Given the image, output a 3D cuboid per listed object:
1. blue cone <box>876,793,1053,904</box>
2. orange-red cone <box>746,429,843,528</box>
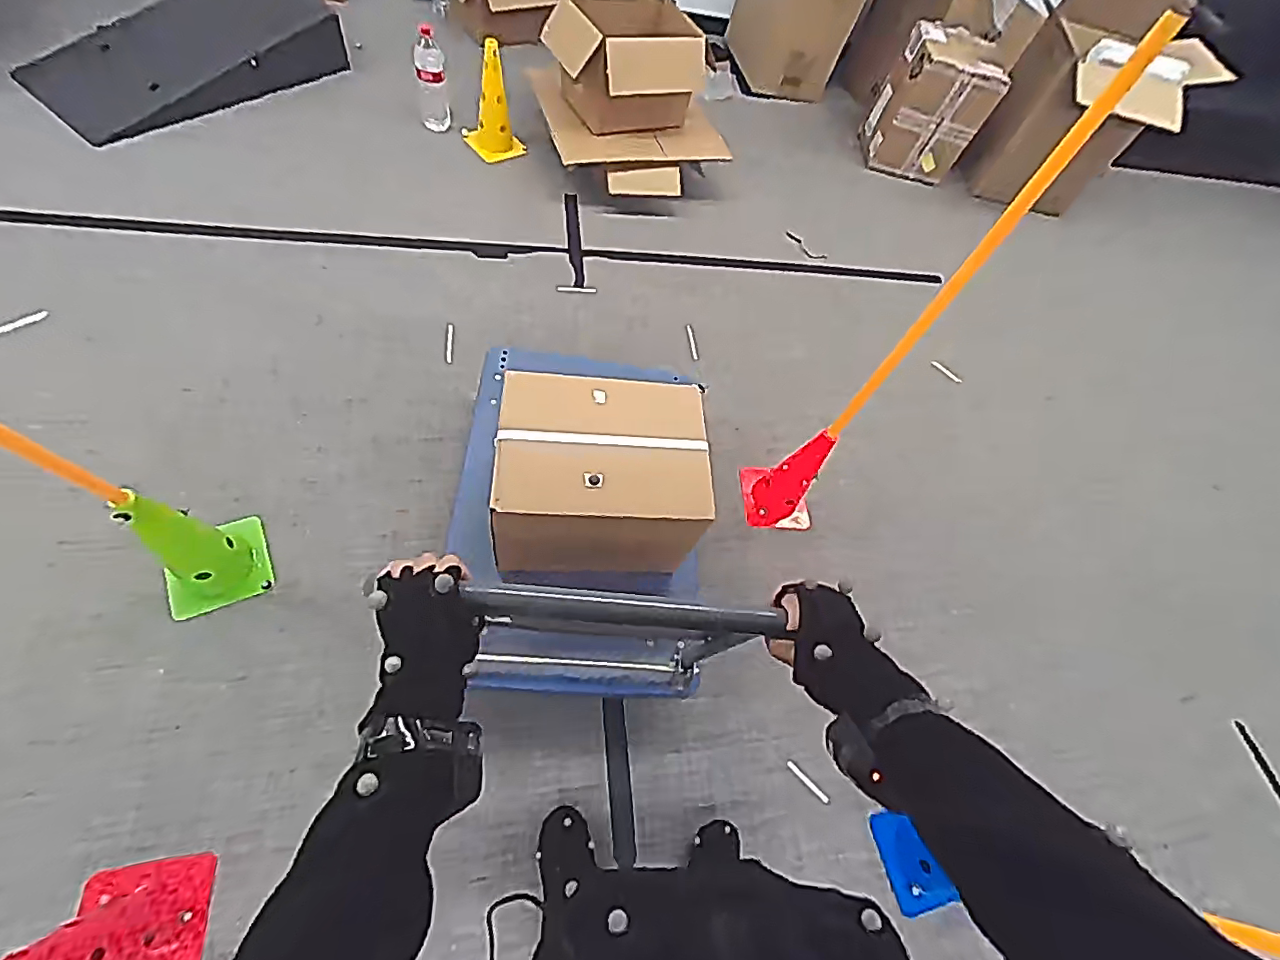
[{"bbox_3d":[0.684,0.768,1.109,0.193,0.380,0.192,-5,62,-15],"label":"blue cone"},{"bbox_3d":[0.451,-0.031,1.481,0.199,0.360,0.198,5,61,-11],"label":"orange-red cone"}]
